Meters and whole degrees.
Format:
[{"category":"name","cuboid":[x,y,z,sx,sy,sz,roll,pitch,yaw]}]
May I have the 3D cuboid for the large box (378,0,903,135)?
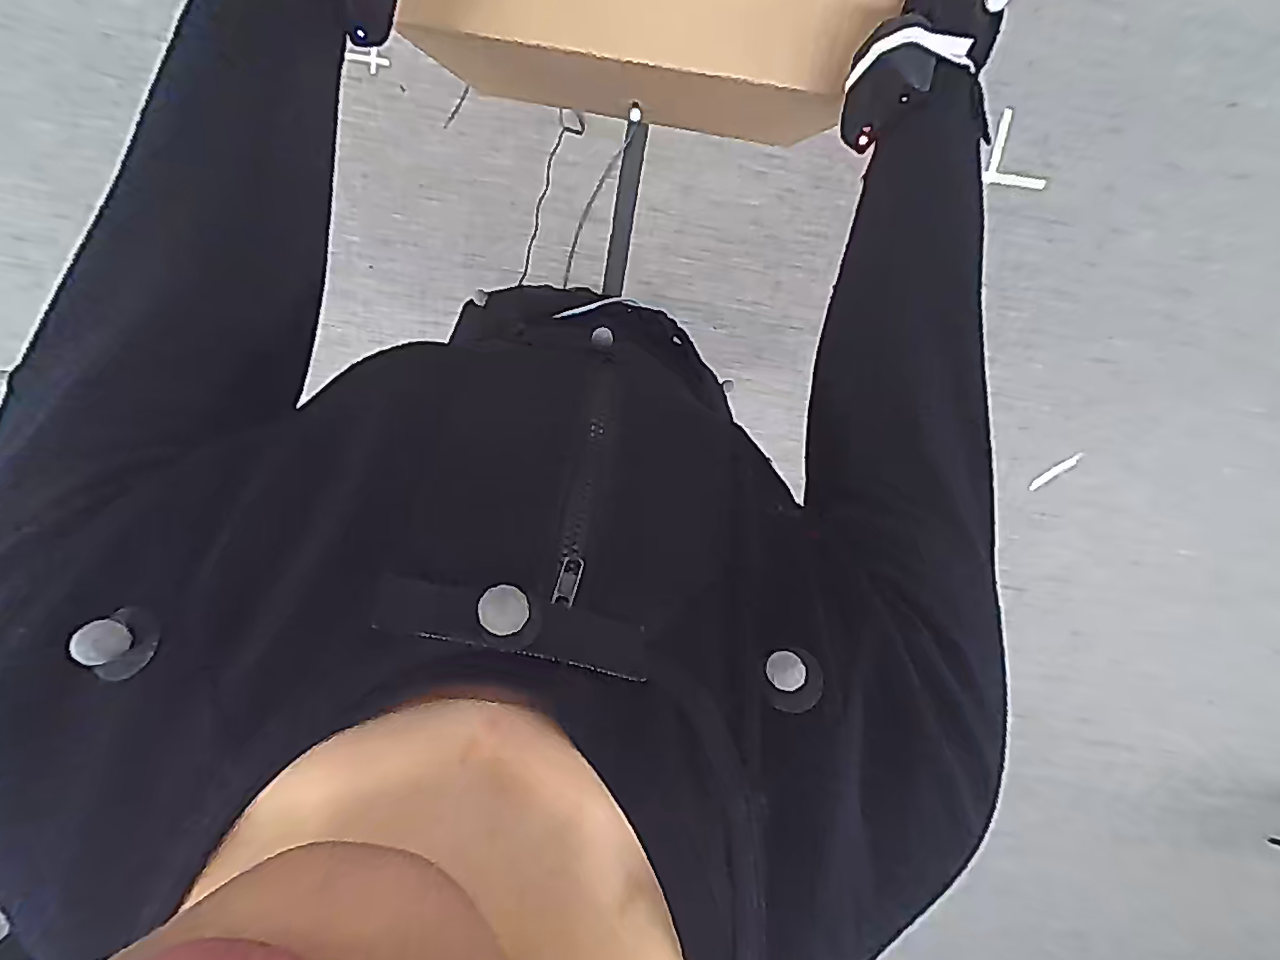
[{"category":"large box","cuboid":[0.020,-0.534,0.491,0.408,0.320,0.320,8,115,-3]}]
